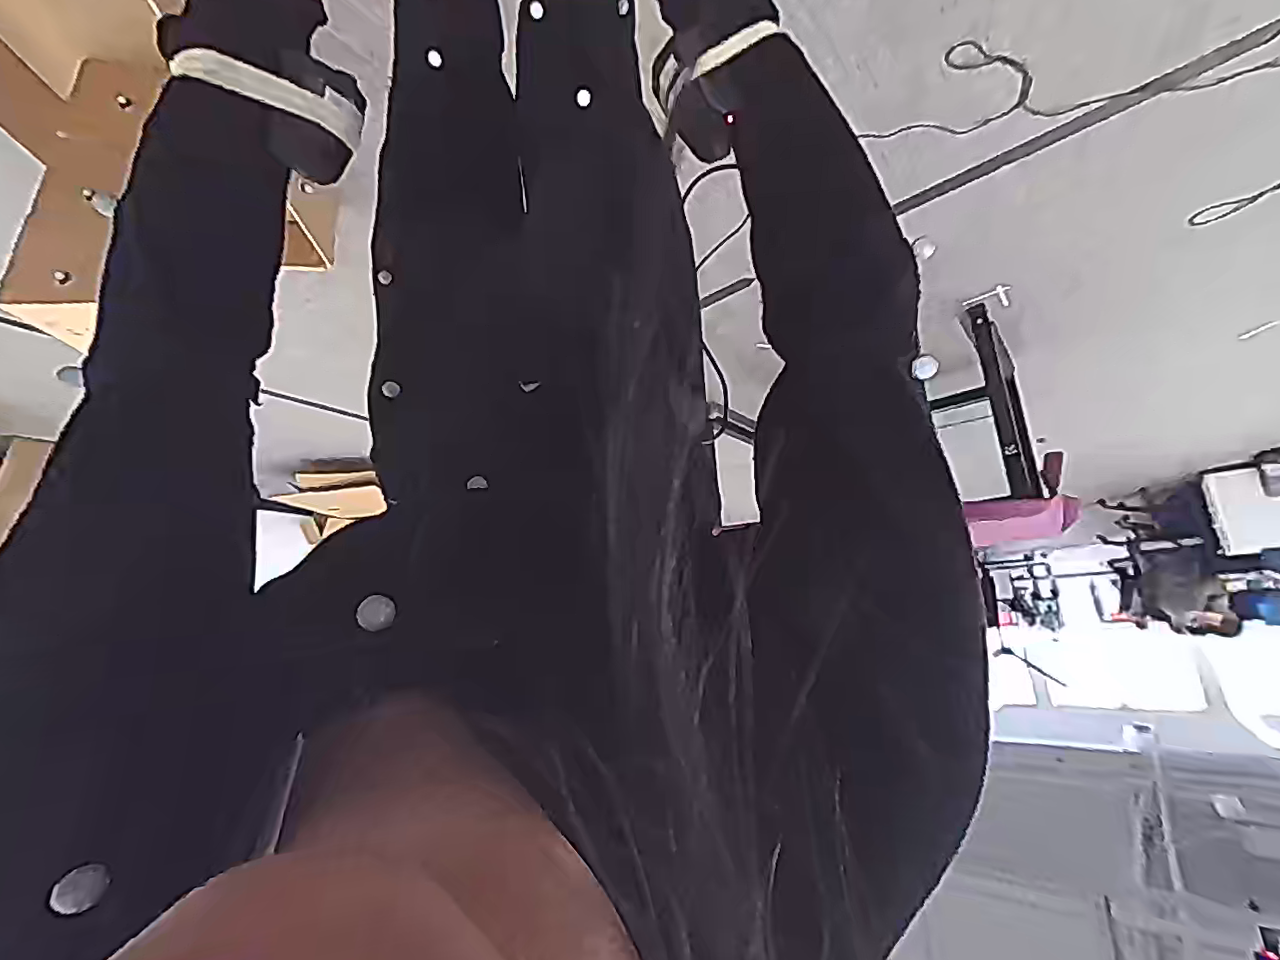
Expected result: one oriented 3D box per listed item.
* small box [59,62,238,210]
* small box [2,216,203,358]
[{"bbox_3d":[-0.902,-0.640,1.014,0.179,0.176,0.168,-1,164,-6],"label":"small box"},{"bbox_3d":[-0.893,-0.326,0.922,0.179,0.176,0.168,-2,162,-2],"label":"small box"}]
